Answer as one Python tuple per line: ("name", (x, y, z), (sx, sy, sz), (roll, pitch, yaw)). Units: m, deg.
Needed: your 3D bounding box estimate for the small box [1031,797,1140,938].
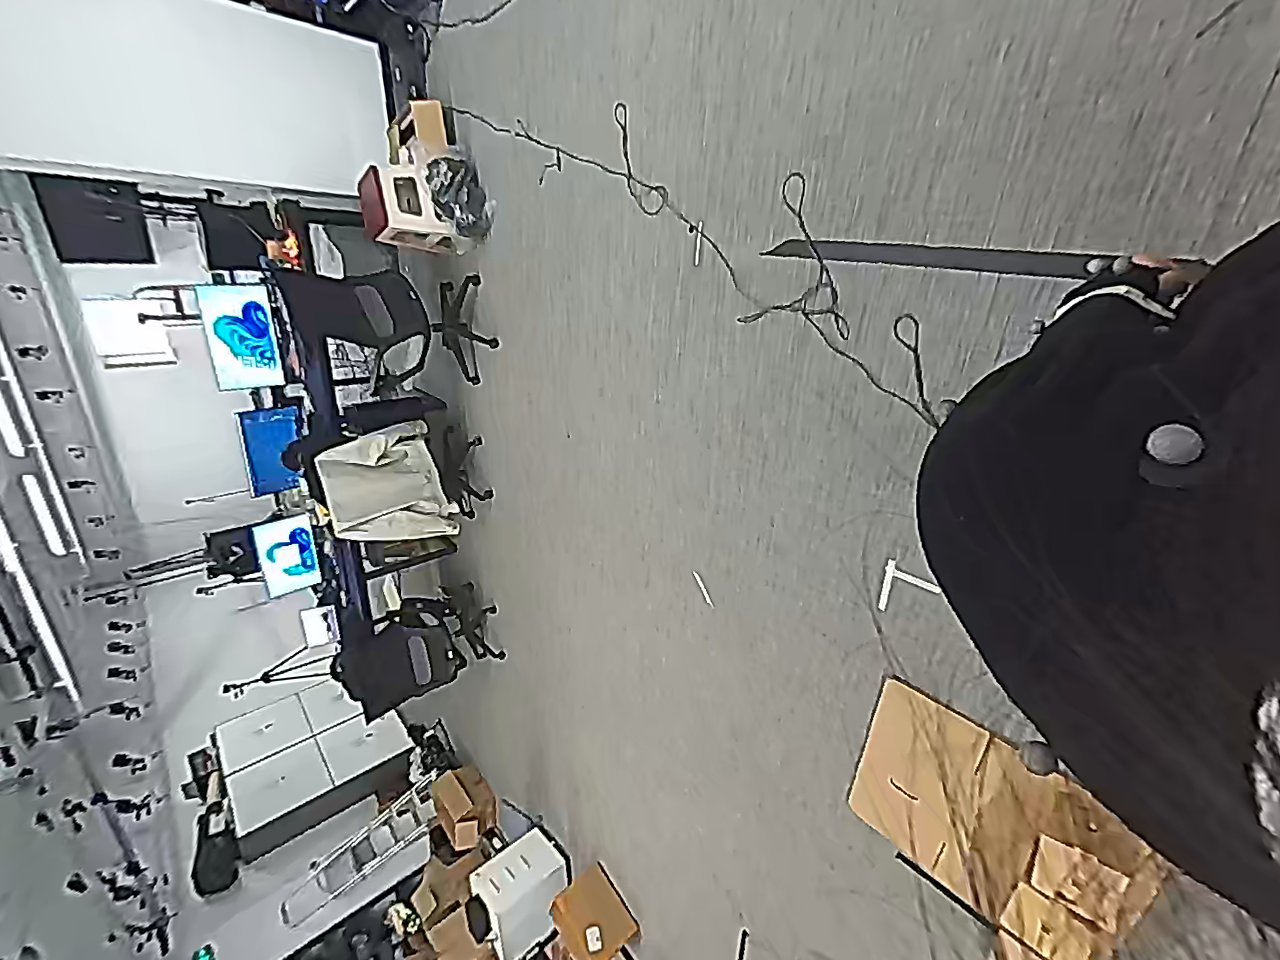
("small box", (1.069, 0.914, 1.296), (0.168, 0.176, 0.179), (14, 113, 45))
